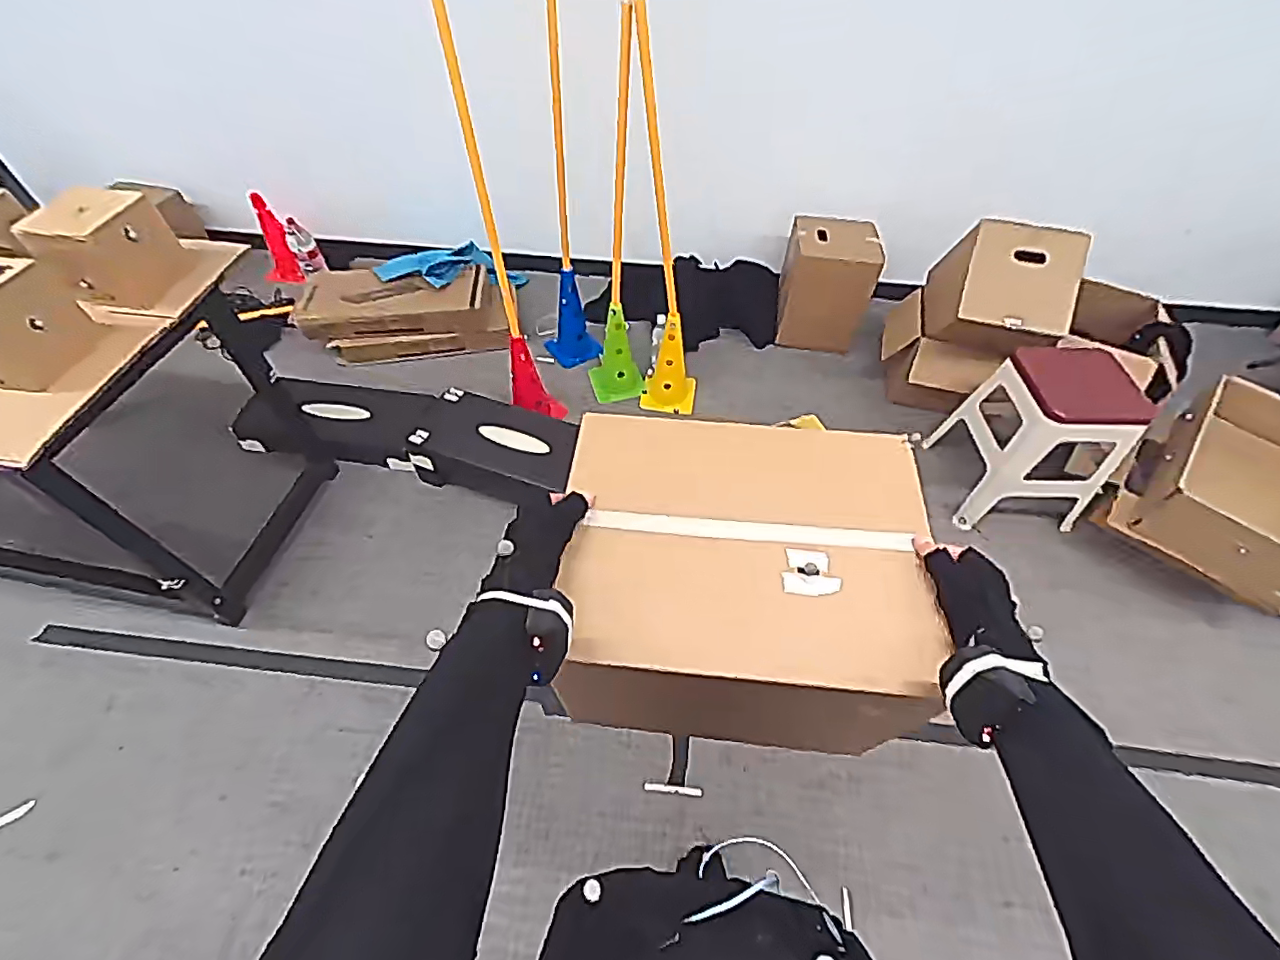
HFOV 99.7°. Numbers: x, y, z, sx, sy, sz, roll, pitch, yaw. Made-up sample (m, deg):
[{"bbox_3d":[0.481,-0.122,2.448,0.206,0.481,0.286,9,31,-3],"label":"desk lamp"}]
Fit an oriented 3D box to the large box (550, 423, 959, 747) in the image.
[{"bbox_3d":[0.121,0.148,0.727,0.408,0.320,0.320,5,56,4],"label":"large box"}]
